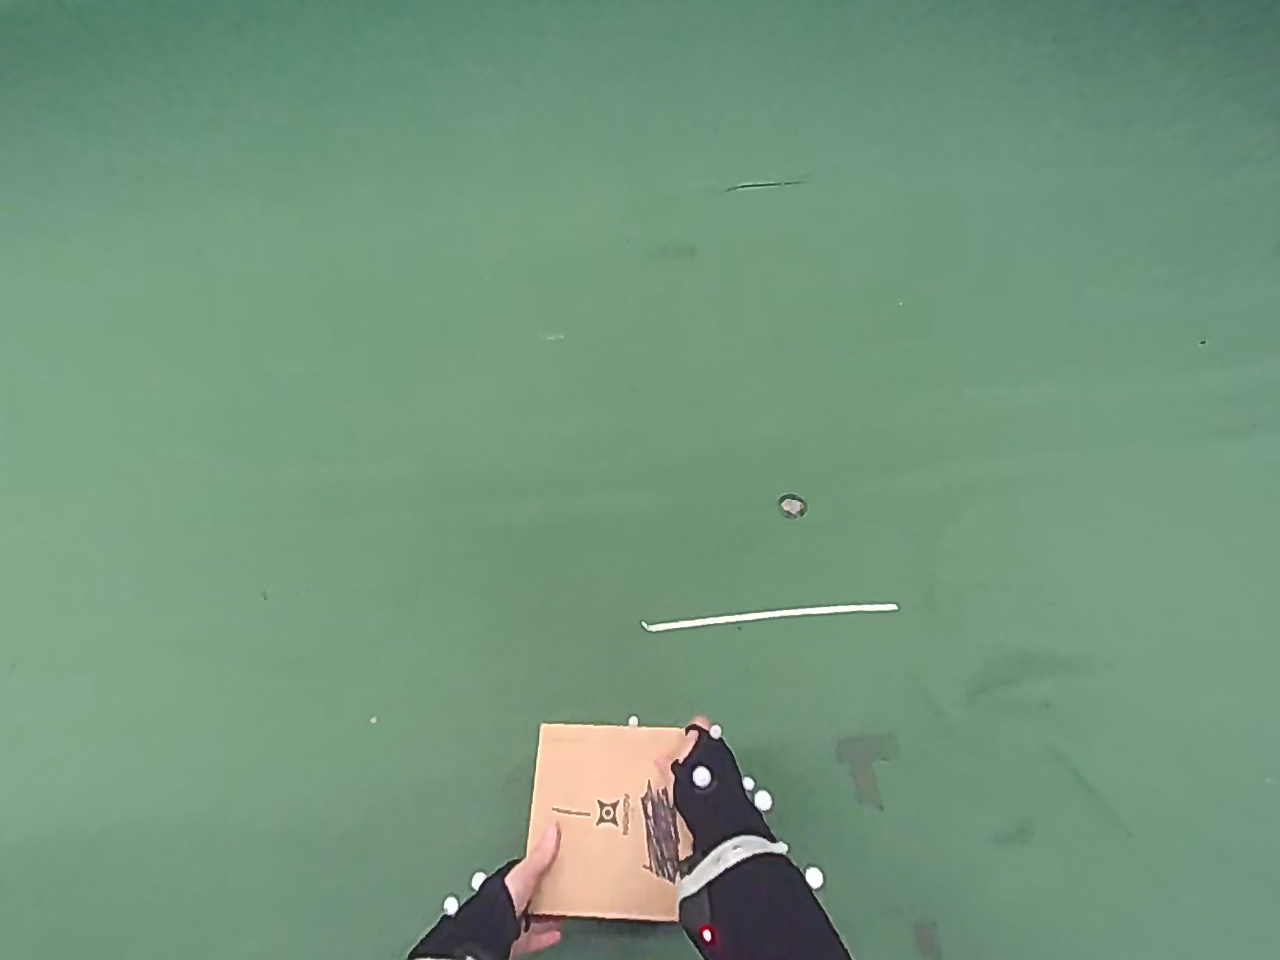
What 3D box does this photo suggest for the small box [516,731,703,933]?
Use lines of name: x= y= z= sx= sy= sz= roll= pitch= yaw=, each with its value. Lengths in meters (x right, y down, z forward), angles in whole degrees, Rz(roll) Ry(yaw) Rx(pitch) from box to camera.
small box: x=-0.023 y=0.383 z=0.608 sx=0.179 sy=0.176 sz=0.168 roll=0 pitch=59 yaw=4
